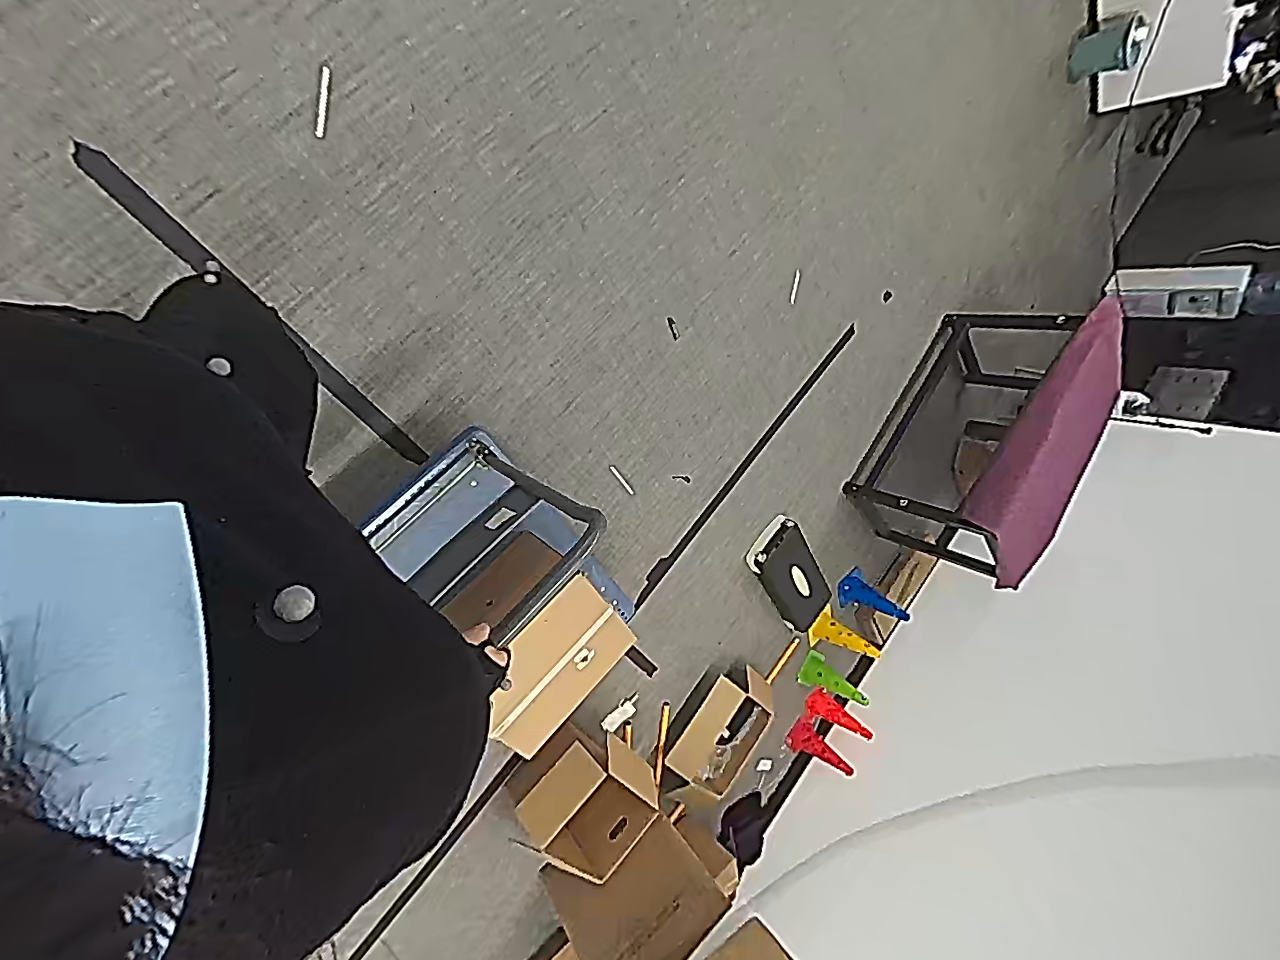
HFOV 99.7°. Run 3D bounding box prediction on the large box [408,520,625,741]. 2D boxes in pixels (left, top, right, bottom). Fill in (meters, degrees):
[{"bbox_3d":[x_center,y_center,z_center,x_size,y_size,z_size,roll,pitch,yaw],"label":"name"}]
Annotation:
[{"bbox_3d":[-0.326,0.382,1.437,0.408,0.320,0.320,-46,129,-18],"label":"large box"}]
